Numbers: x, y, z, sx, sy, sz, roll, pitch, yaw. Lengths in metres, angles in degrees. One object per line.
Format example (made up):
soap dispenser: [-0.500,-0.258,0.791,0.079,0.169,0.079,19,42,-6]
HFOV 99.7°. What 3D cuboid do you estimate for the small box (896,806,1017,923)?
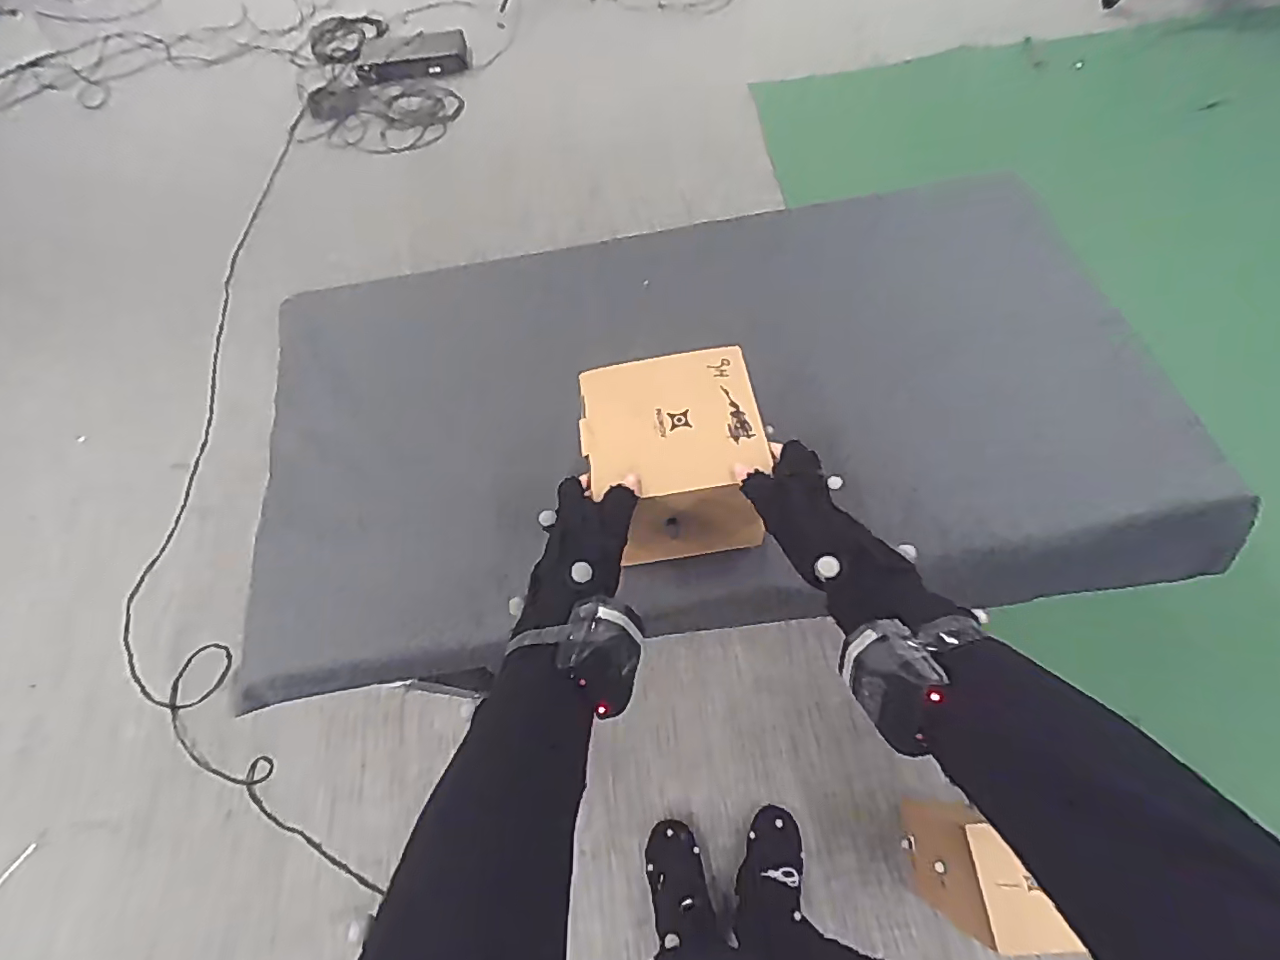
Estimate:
small box: [0.623,0.730,1.038,0.179,0.176,0.168,-3,63,4]

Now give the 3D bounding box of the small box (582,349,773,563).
small box: [0.041,-0.017,0.608,0.179,0.176,0.168,-9,61,3]

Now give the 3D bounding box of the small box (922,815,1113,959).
small box: [0.602,0.658,0.890,0.179,0.176,0.168,-3,63,3]
